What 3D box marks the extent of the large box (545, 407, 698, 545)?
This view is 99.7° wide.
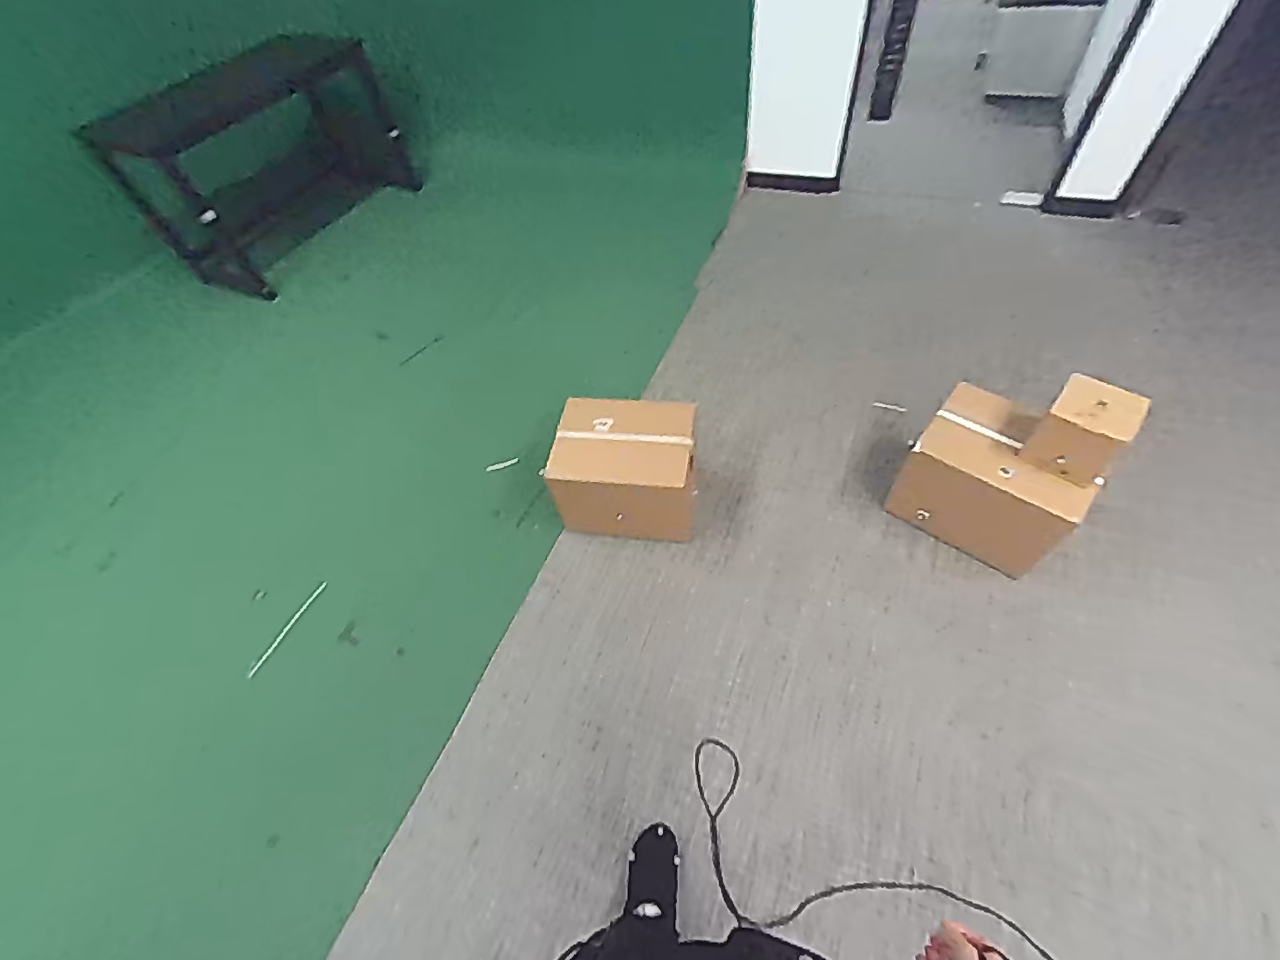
[{"bbox_3d":[-0.033,-0.011,1.683,0.408,0.320,0.320,3,54,11],"label":"large box"}]

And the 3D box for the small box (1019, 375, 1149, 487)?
[{"bbox_3d":[1.069,-0.118,1.315,0.168,0.176,0.179,33,63,27],"label":"small box"}]
